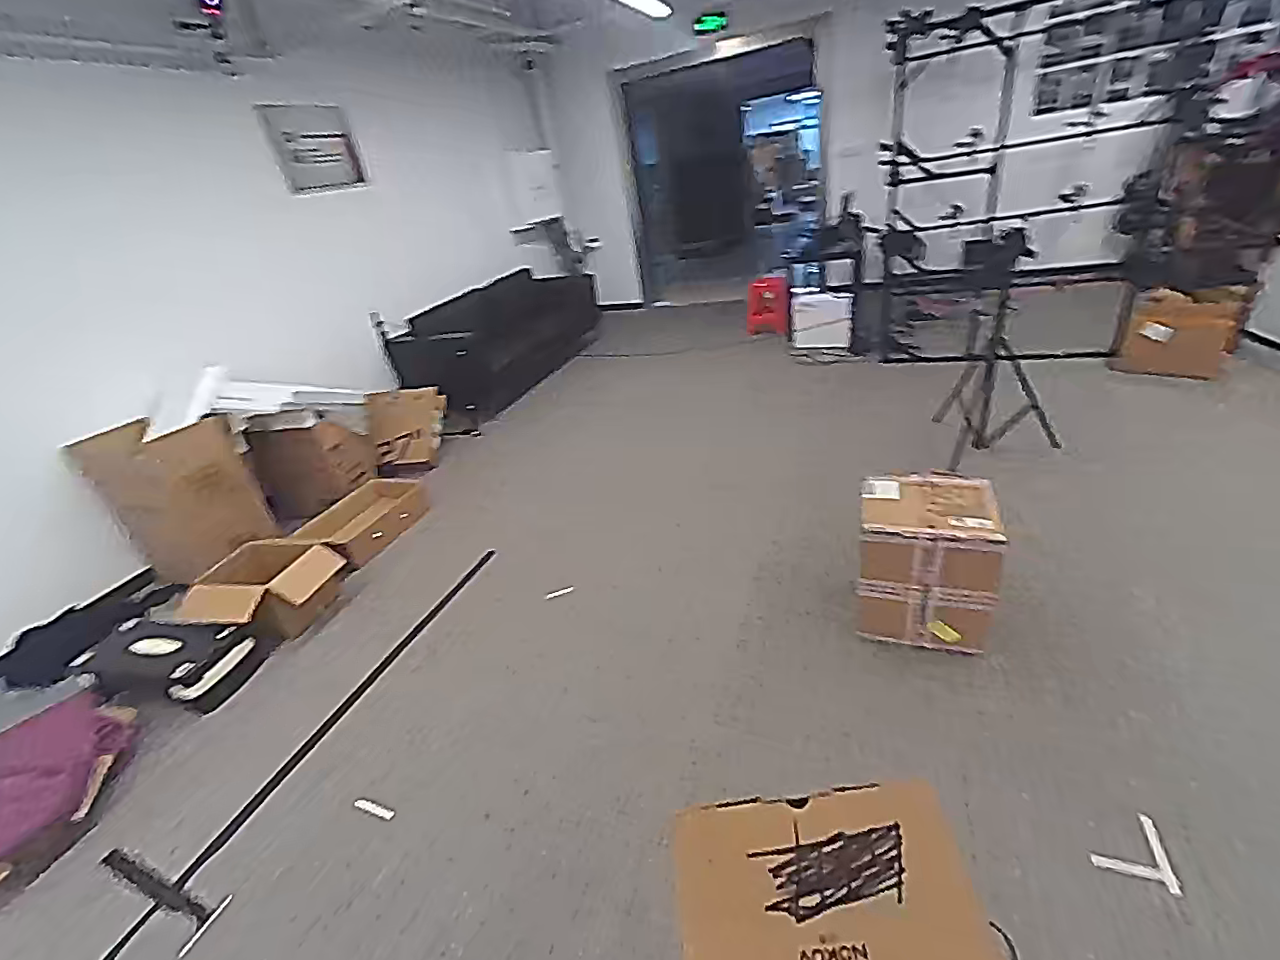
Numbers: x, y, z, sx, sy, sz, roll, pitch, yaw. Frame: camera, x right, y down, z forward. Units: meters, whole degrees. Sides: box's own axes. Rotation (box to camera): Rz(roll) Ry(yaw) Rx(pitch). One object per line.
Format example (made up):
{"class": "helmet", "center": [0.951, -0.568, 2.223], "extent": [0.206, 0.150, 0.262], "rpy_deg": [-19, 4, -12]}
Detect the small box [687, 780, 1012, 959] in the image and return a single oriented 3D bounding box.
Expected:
{"class": "small box", "center": [0.128, 0.316, 0.343], "extent": [0.168, 0.176, 0.179], "rpy_deg": [-11, 46, 7]}
